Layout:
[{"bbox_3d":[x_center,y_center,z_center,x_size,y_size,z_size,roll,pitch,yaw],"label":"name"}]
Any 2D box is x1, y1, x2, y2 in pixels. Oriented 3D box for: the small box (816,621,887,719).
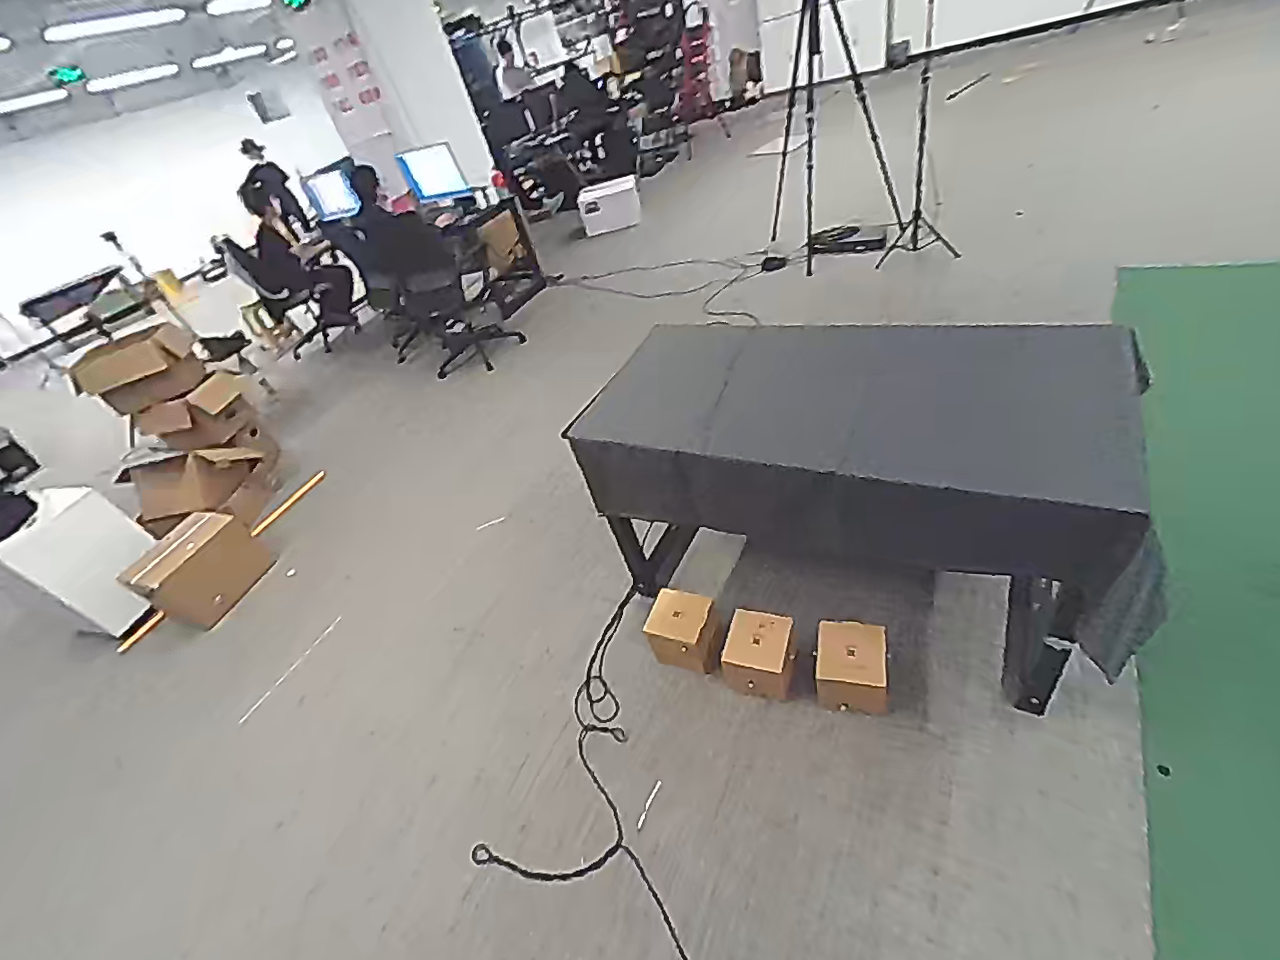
[{"bbox_3d":[0.565,0.505,1.442,0.168,0.176,0.179,1,43,23],"label":"small box"}]
